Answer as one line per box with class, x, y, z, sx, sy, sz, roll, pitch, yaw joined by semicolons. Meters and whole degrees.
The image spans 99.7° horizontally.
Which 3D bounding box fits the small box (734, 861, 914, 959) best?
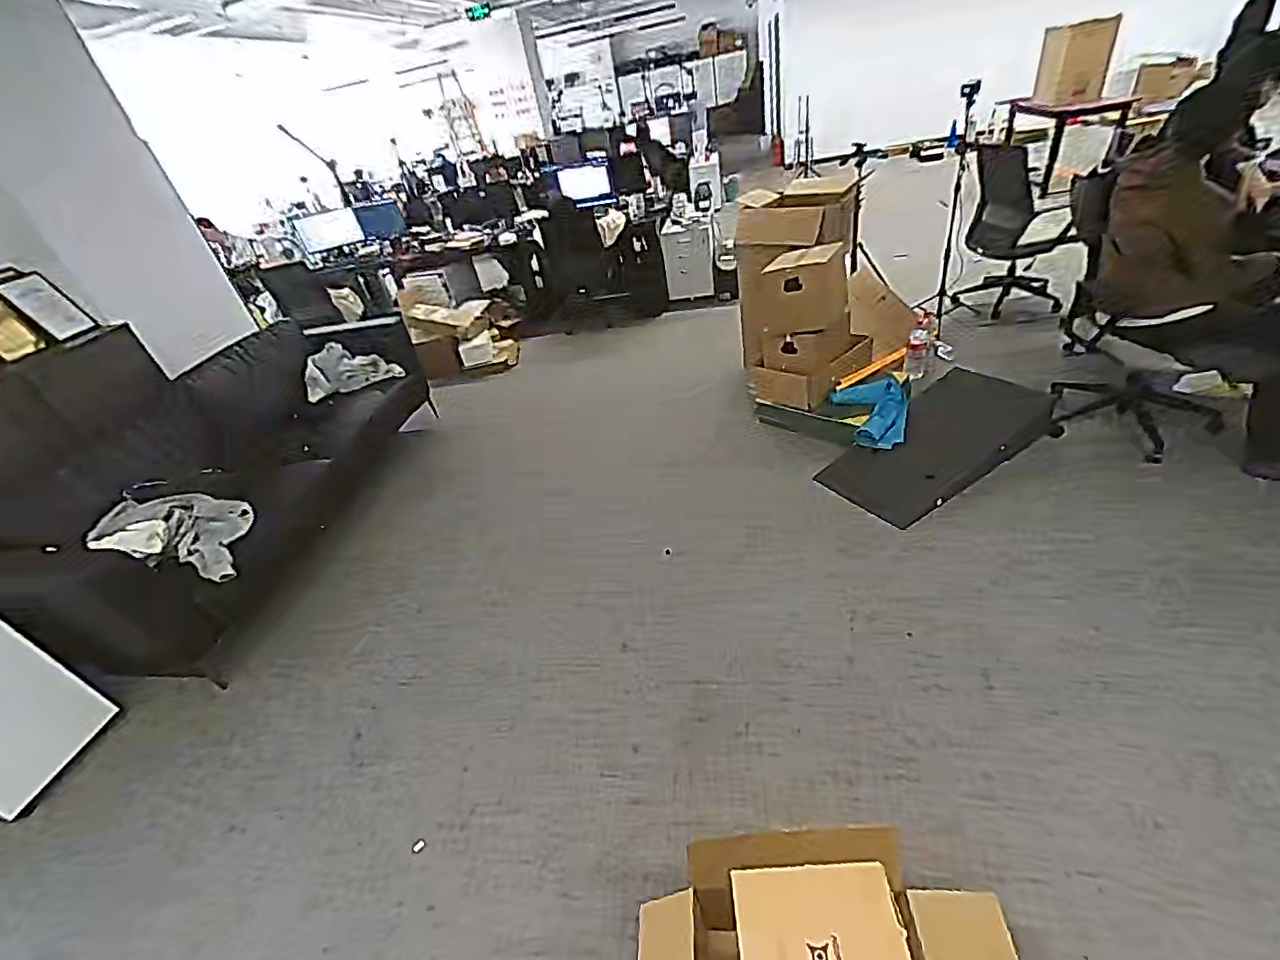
small box;0.206;0.552;0.600;0.179;0.176;0.168;-9;32;9
